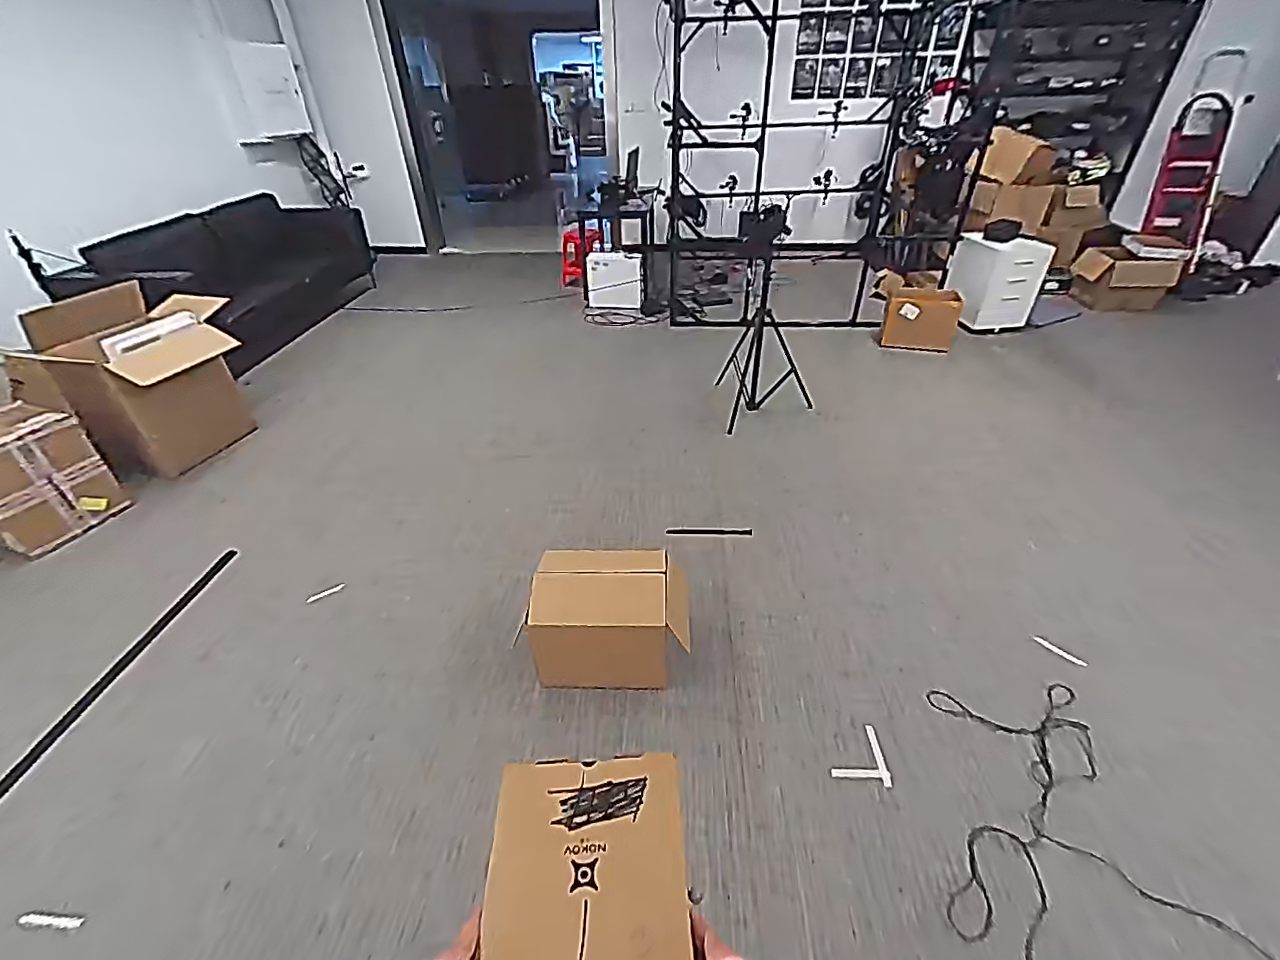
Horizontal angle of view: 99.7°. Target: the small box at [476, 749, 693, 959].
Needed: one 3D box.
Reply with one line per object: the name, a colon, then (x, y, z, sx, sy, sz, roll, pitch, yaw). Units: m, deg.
small box: (-0.042, 0.383, 0.506, 0.168, 0.176, 0.179, -4, 36, 0)
